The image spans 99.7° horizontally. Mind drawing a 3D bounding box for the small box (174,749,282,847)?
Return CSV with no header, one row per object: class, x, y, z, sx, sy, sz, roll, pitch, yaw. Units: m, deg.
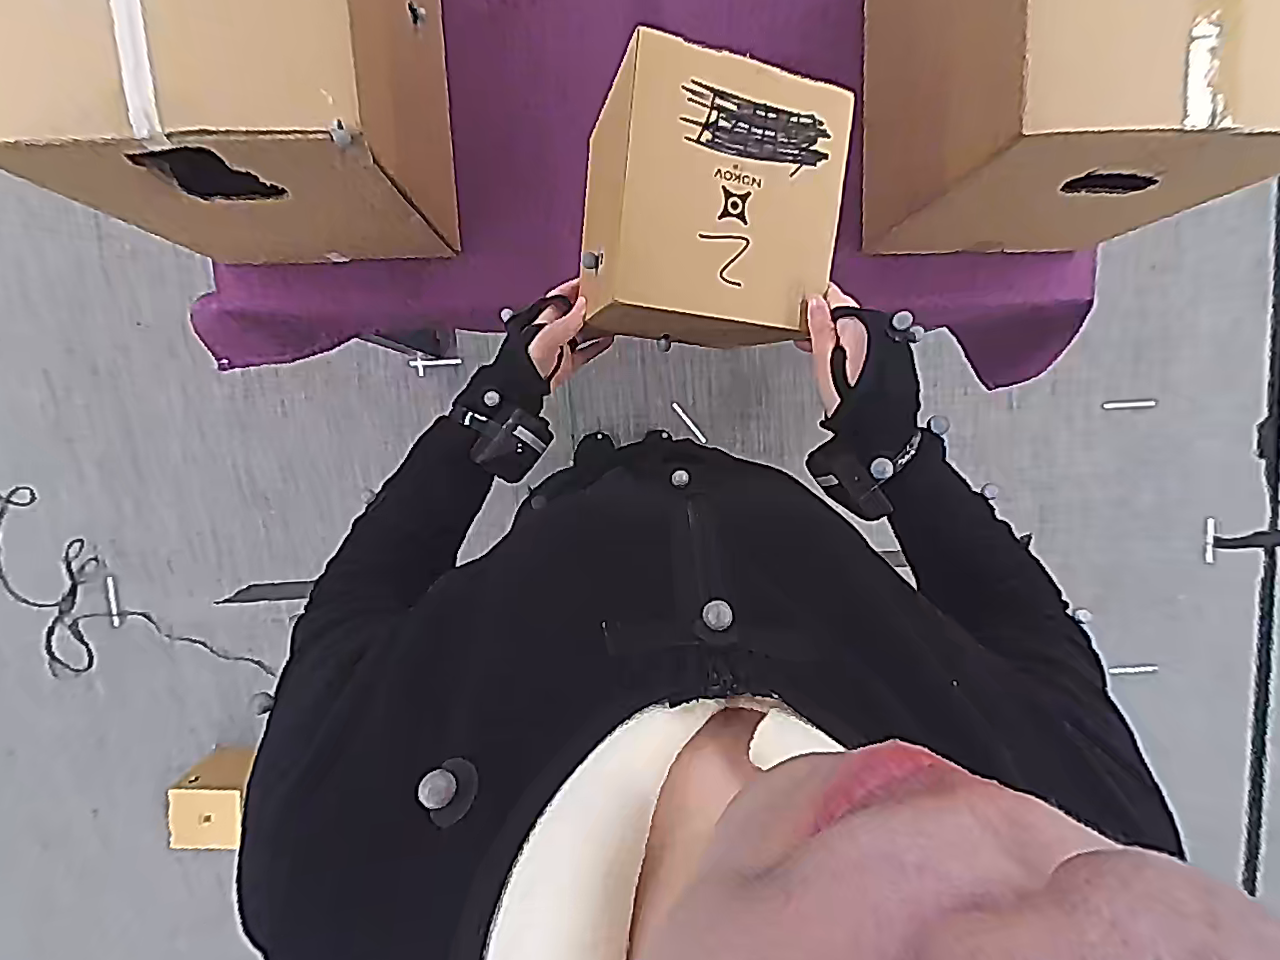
small box,-1.095,0.848,1.454,0.179,0.176,0.168,3,97,-3
